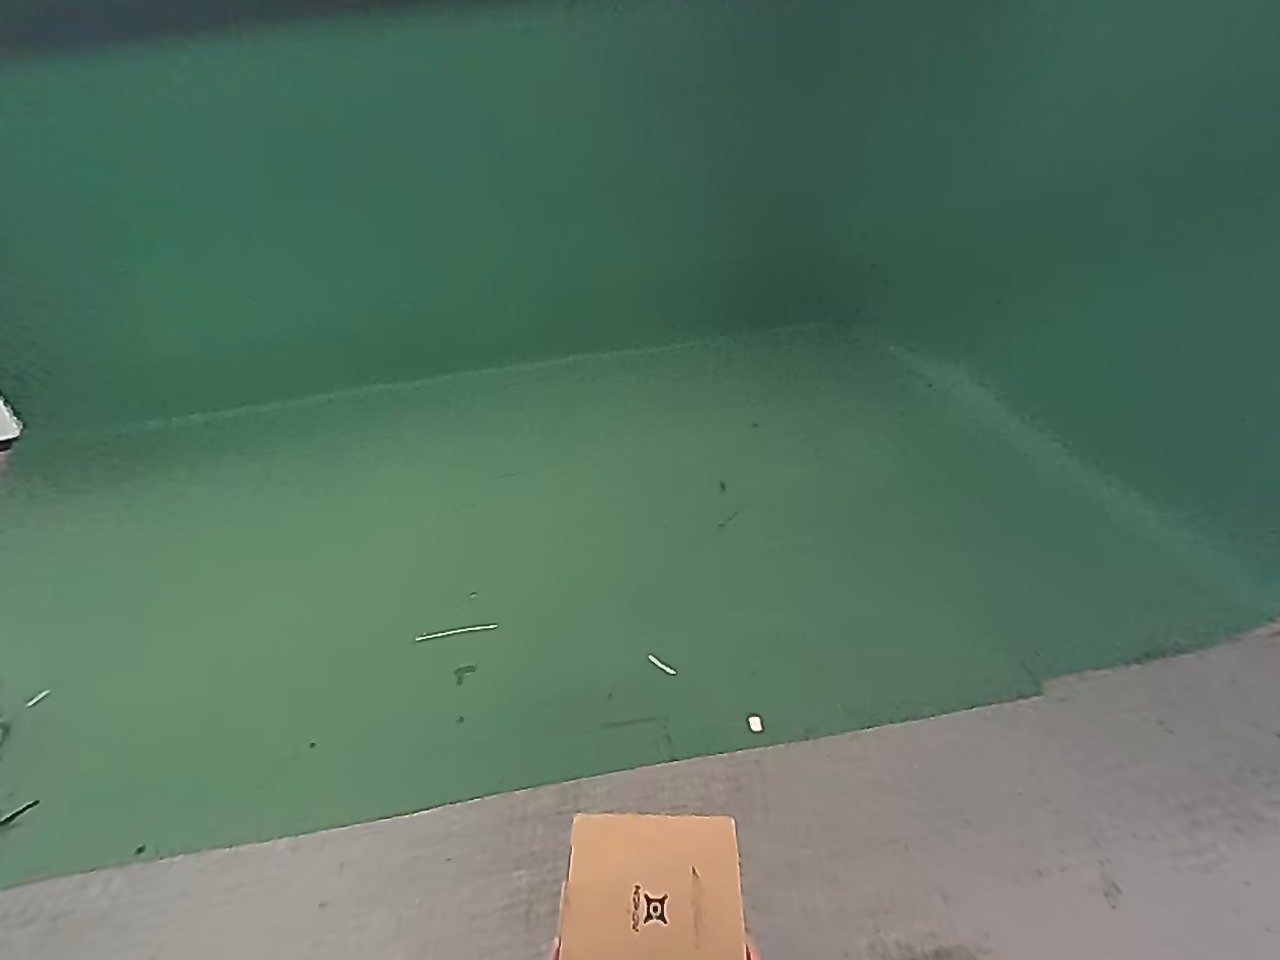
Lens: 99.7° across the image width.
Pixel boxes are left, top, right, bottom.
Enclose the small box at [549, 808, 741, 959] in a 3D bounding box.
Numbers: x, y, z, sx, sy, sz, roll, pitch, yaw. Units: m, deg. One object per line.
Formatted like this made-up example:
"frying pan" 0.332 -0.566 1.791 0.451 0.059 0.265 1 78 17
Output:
"small box" 0.009 0.469 0.565 0.179 0.176 0.168 -1 37 2
